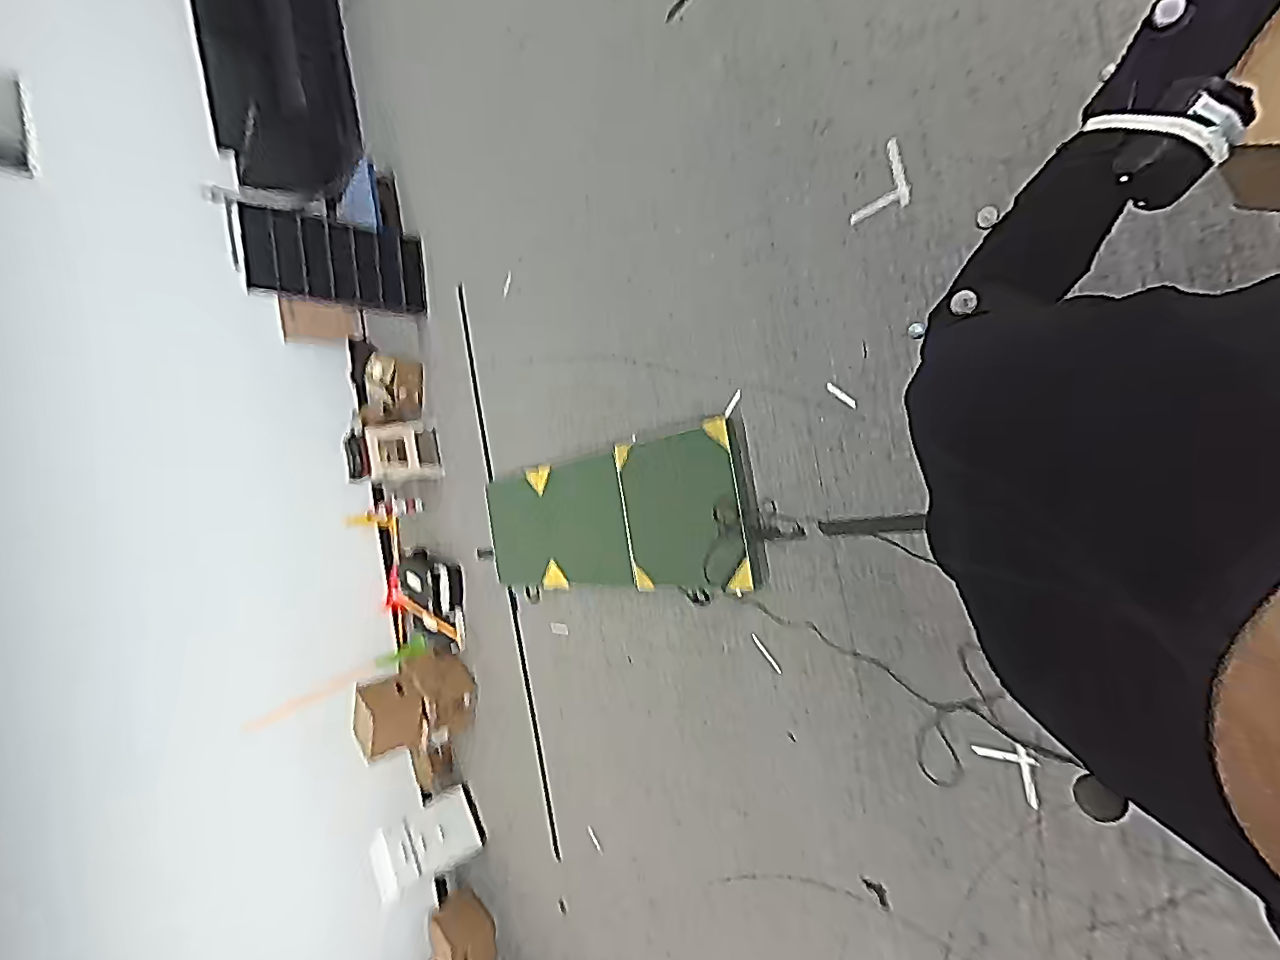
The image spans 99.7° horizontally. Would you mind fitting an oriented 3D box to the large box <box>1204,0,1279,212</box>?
[{"bbox_3d":[0.674,-0.343,0.310,0.408,0.320,0.320,30,122,42],"label":"large box"}]
